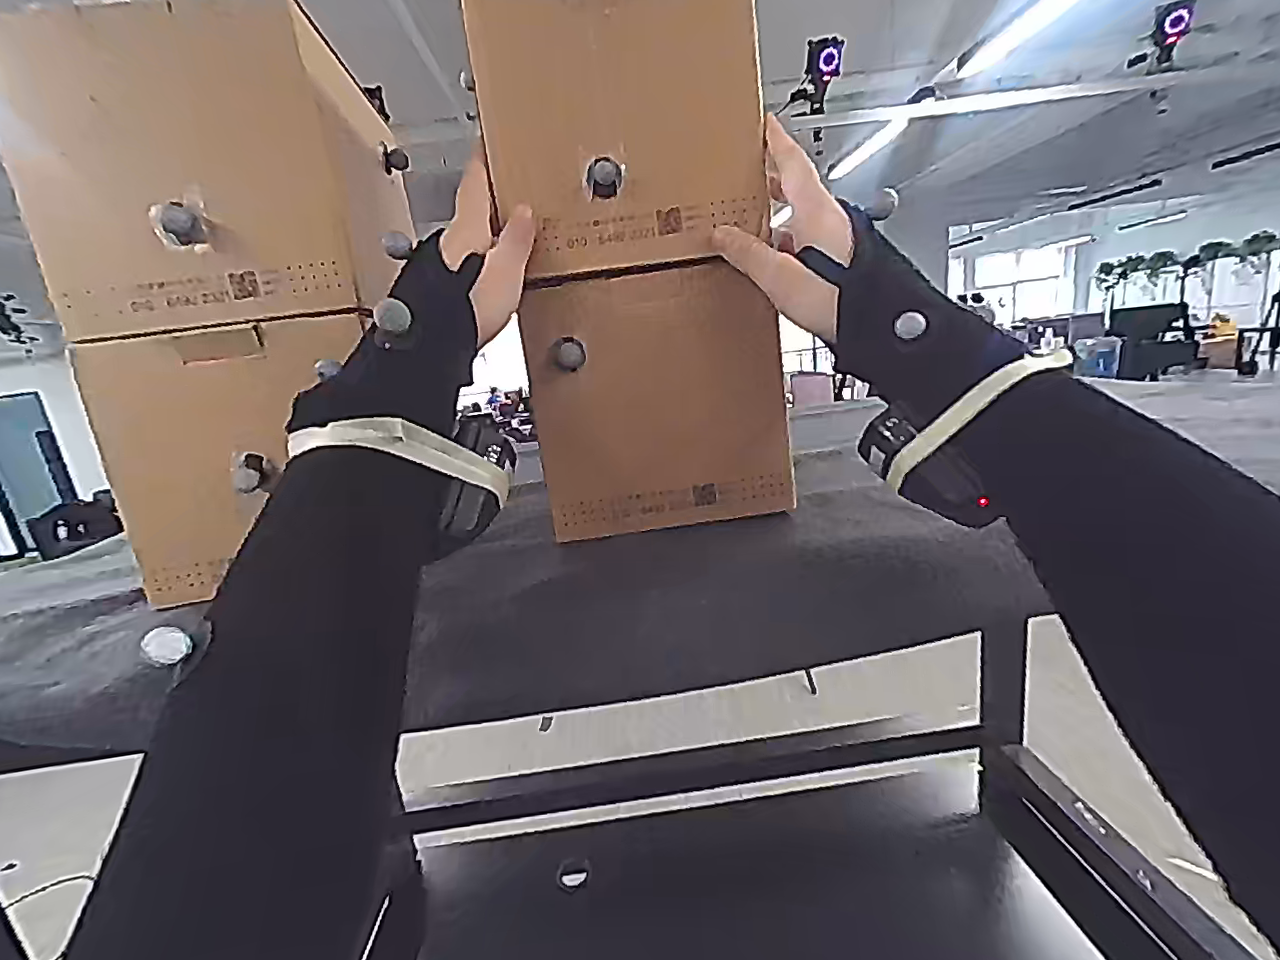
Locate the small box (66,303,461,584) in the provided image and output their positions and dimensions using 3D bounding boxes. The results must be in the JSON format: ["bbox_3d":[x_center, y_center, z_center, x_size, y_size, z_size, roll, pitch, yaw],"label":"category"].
[{"bbox_3d":[-0.244,-0.029,0.409,0.168,0.176,0.179,-8,12,-6],"label":"small box"}]

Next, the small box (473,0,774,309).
[{"bbox_3d":[-0.007,-0.227,0.394,0.168,0.176,0.179,-7,11,1],"label":"small box"}]

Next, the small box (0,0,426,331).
[{"bbox_3d":[-0.263,-0.190,0.377,0.168,0.176,0.179,-9,12,-5],"label":"small box"}]
